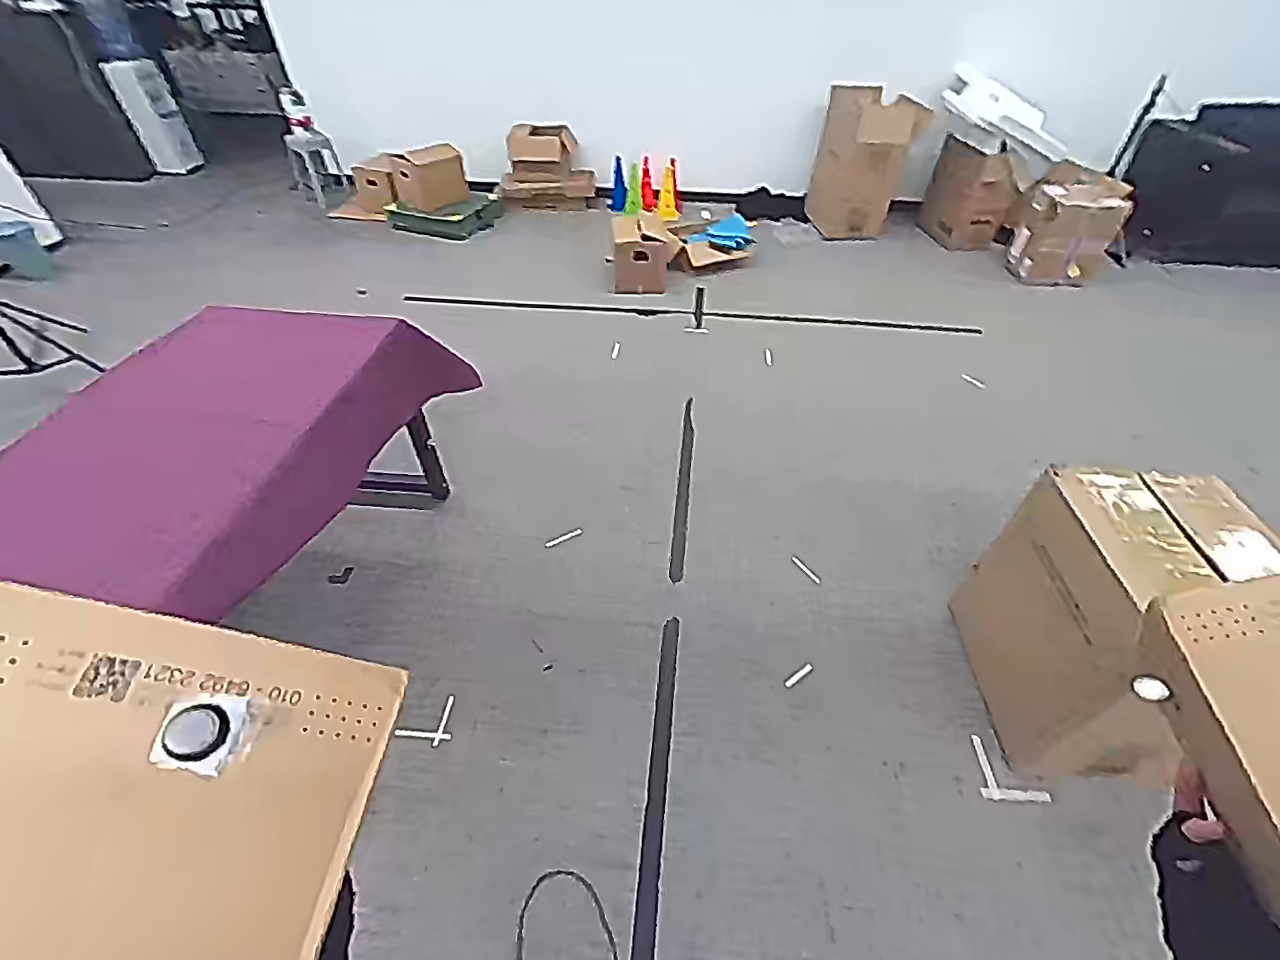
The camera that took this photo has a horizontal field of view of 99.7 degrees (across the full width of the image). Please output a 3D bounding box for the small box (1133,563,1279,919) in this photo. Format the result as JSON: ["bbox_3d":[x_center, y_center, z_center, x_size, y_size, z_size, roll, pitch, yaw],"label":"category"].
[{"bbox_3d":[0.402,0.136,0.283,0.168,0.179,0.176,-23,53,29],"label":"small box"}]

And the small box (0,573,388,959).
[{"bbox_3d":[-0.236,0.154,0.252,0.168,0.179,0.176,21,61,-24],"label":"small box"}]
